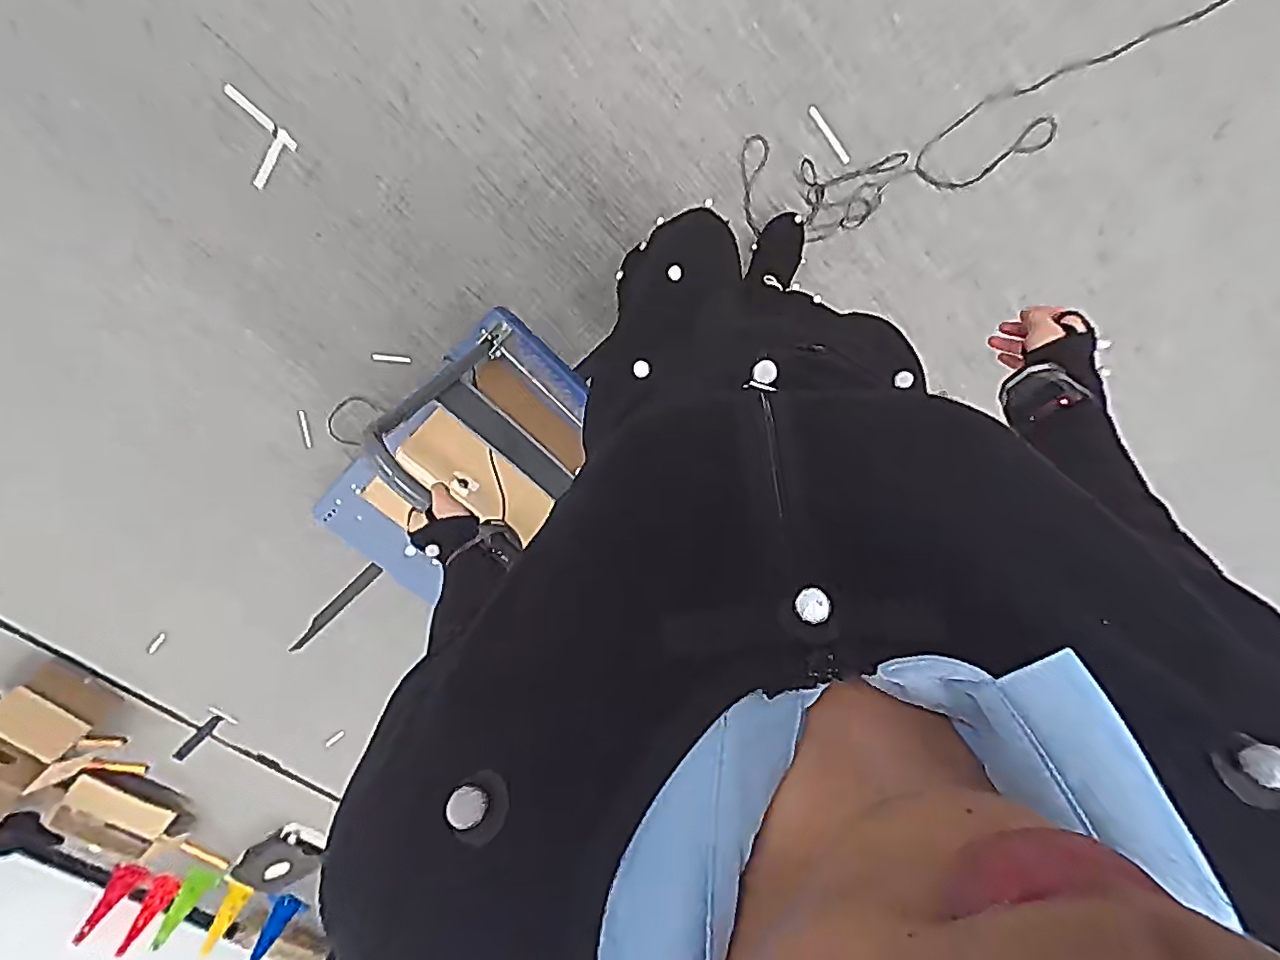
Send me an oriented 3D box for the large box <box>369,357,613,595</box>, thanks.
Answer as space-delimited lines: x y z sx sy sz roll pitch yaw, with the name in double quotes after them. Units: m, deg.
-0.324 -0.013 1.286 0.320 0.320 0.408 -39 109 23 "large box"
